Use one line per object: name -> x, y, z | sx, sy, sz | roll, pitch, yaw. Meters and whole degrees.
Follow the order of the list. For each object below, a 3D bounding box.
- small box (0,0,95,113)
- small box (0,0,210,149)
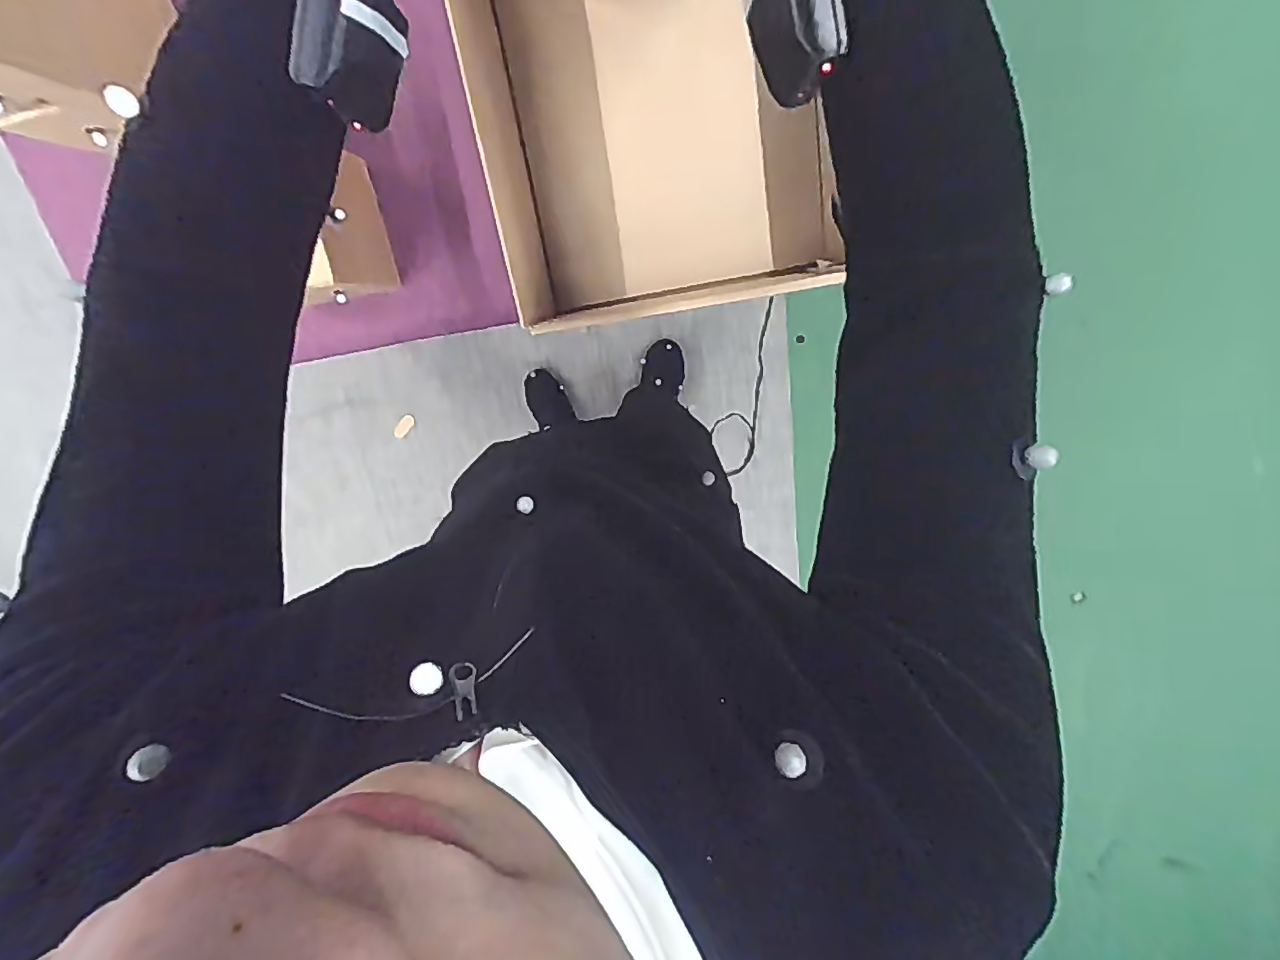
small box -> -0.704, -0.483, 0.516 | 0.168, 0.176, 0.179 | -5, 109, 7
small box -> -0.696, -0.534, 0.672 | 0.168, 0.176, 0.179 | -9, 108, 8
